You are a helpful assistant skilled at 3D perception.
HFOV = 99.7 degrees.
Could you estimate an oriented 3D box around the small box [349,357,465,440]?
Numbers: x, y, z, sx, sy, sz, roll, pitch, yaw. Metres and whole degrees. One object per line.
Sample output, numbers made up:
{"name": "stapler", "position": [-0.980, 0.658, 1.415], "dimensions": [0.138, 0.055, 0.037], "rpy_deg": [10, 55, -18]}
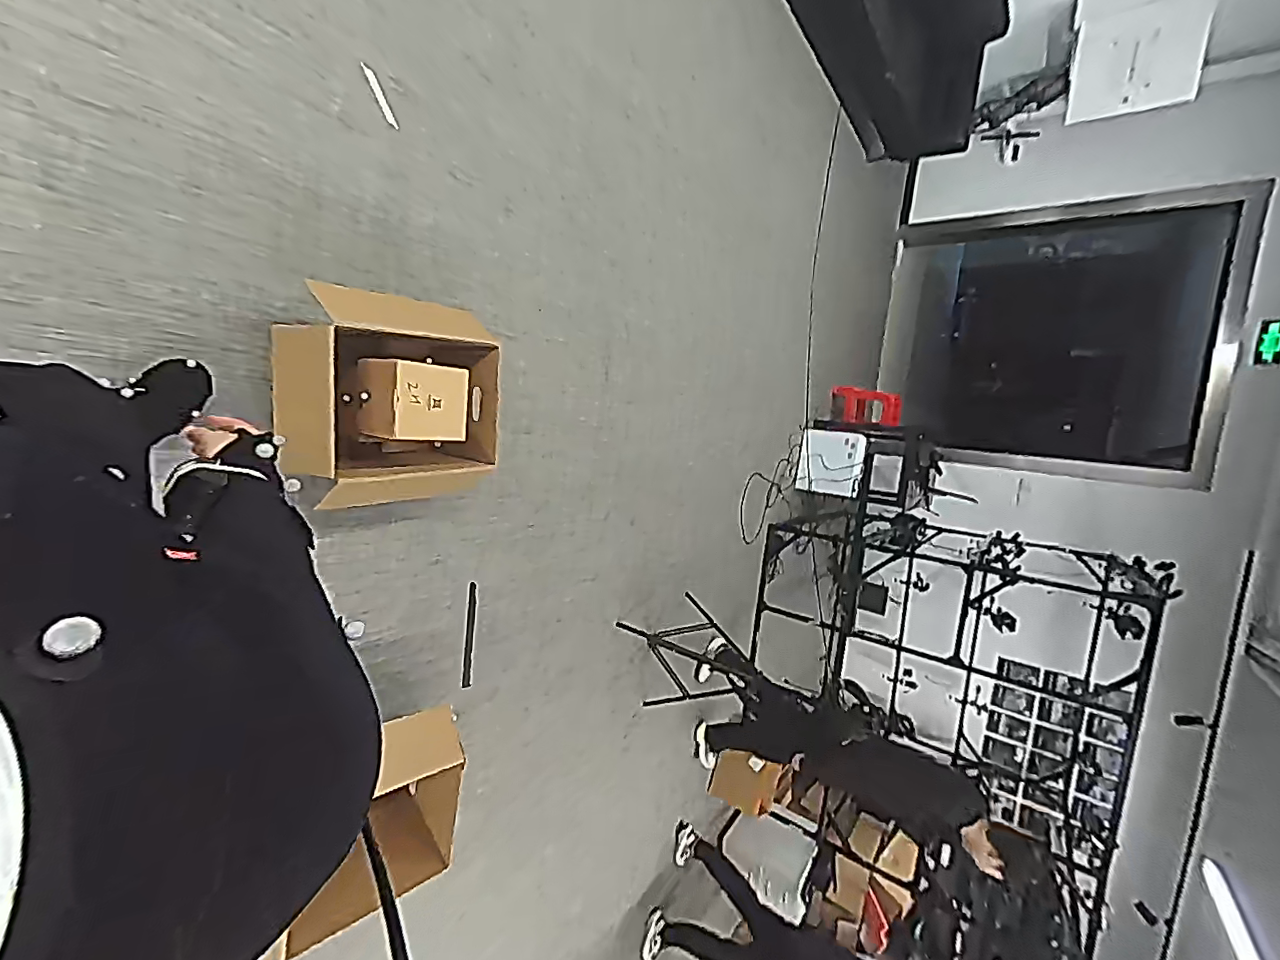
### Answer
{"name": "small box", "position": [-0.525, -0.183, 1.222], "dimensions": [0.179, 0.176, 0.168], "rpy_deg": [-2, 100, -54]}
